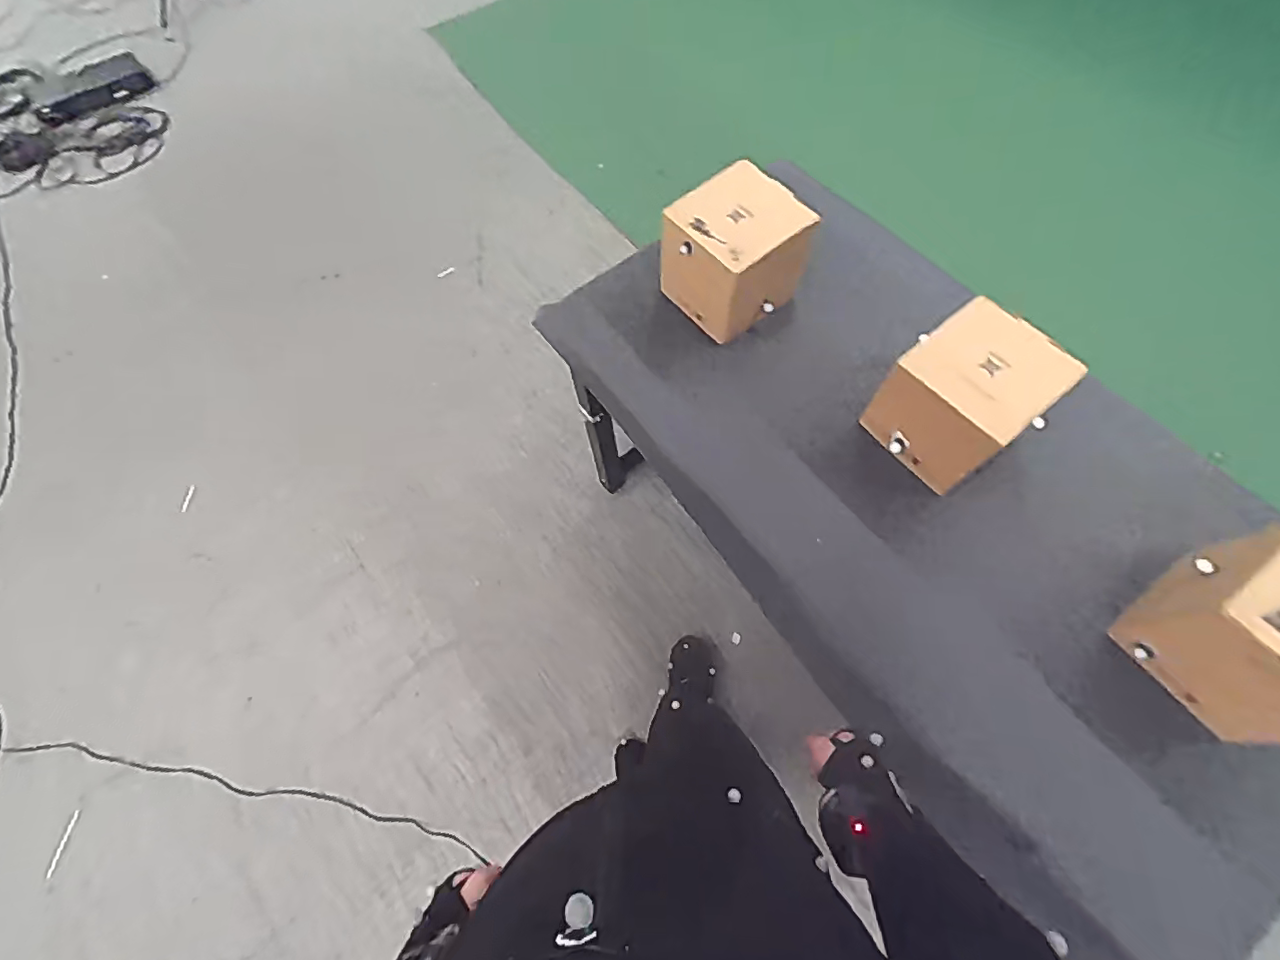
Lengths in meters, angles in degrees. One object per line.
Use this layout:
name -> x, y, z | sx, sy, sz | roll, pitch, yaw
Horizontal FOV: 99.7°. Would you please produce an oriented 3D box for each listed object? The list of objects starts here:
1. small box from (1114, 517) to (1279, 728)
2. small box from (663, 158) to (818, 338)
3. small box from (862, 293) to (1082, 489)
small box -> 0.724, 0.173, 0.636 | 0.179, 0.176, 0.168 | -35, 71, -12
small box -> 0.149, -0.370, 0.879 | 0.179, 0.176, 0.168 | -37, 71, -14
small box -> 0.452, -0.119, 0.769 | 0.179, 0.176, 0.168 | -38, 70, -12
